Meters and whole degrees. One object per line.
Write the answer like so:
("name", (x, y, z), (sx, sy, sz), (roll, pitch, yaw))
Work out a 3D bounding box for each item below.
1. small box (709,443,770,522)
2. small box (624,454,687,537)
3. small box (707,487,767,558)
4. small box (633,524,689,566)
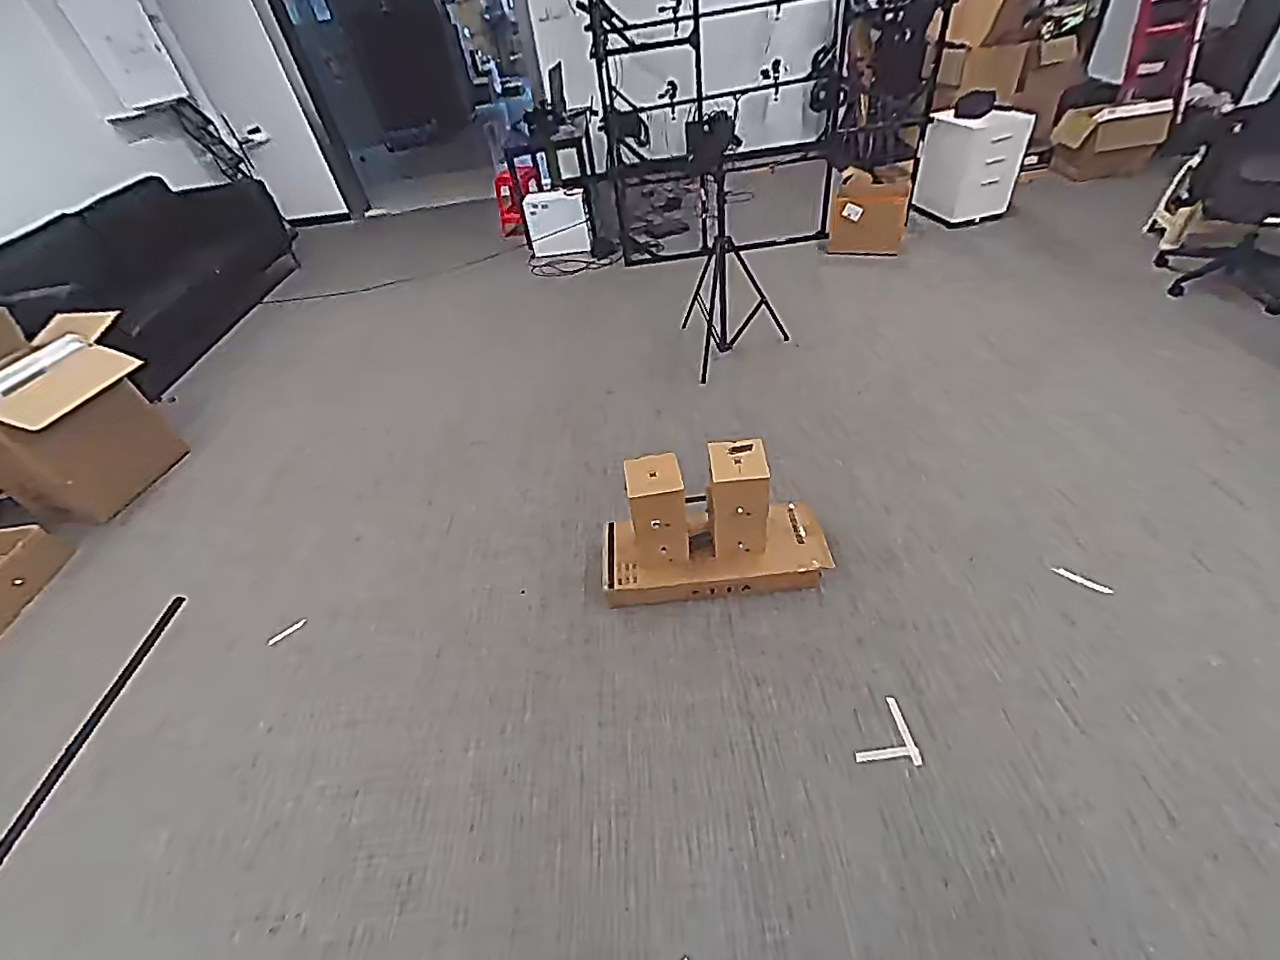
("small box", (0.301, 0.008, 1.661), (0.168, 0.176, 0.179), (-5, 42, 5))
("small box", (0.048, 0.048, 1.664), (0.168, 0.176, 0.179), (-11, 42, -1))
("small box", (0.312, 0.132, 1.770), (0.168, 0.176, 0.179), (-8, 42, 3))
("small box", (0.067, 0.166, 1.775), (0.168, 0.176, 0.179), (-8, 42, 1))
